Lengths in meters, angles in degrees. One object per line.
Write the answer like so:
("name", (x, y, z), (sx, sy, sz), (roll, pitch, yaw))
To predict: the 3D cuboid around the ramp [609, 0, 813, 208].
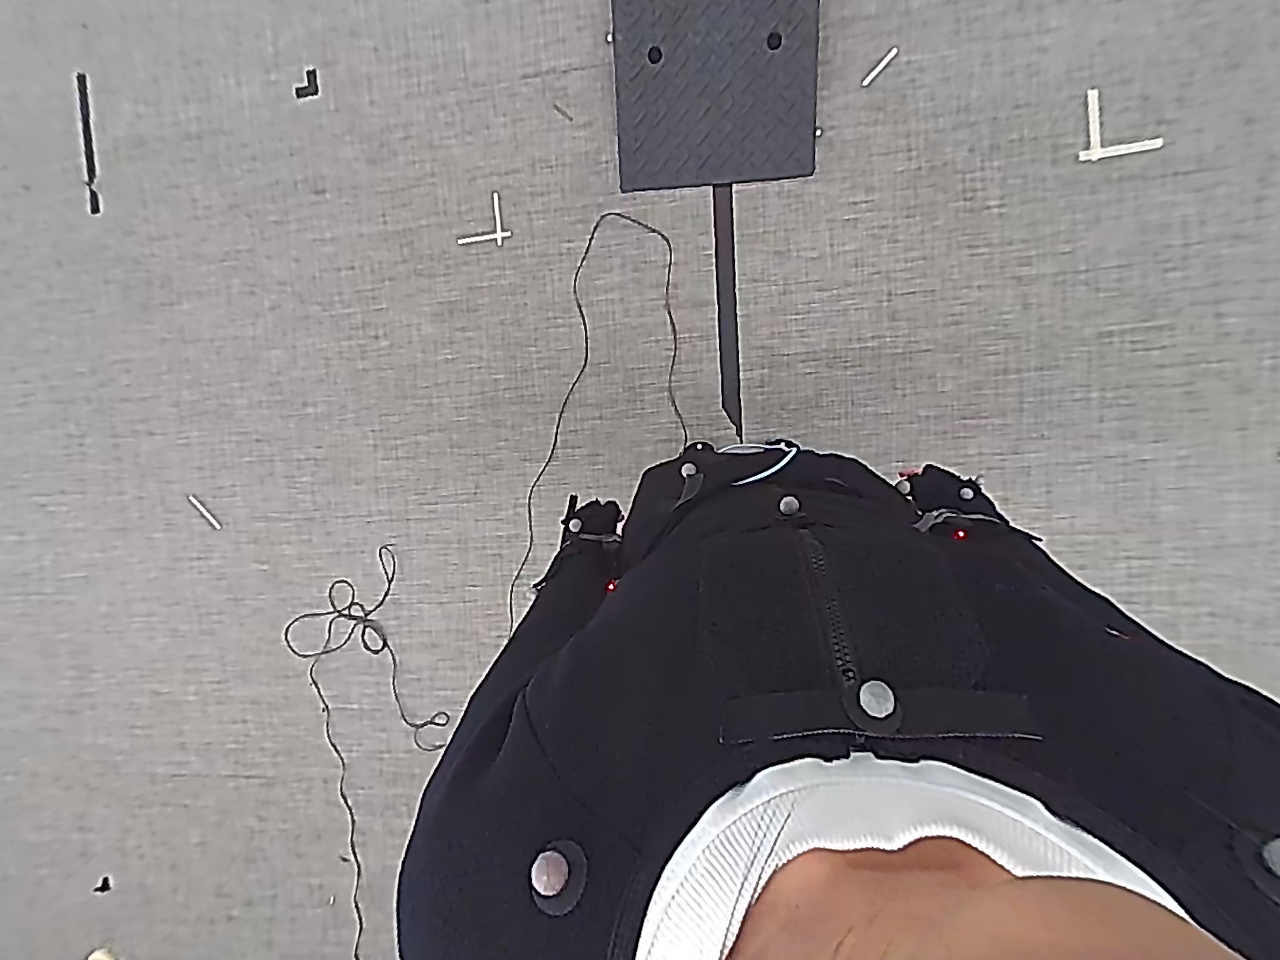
("ramp", (0.164, -1.218, 1.295), (0.509, 0.206, 0.991), (-4, 93, 8))
